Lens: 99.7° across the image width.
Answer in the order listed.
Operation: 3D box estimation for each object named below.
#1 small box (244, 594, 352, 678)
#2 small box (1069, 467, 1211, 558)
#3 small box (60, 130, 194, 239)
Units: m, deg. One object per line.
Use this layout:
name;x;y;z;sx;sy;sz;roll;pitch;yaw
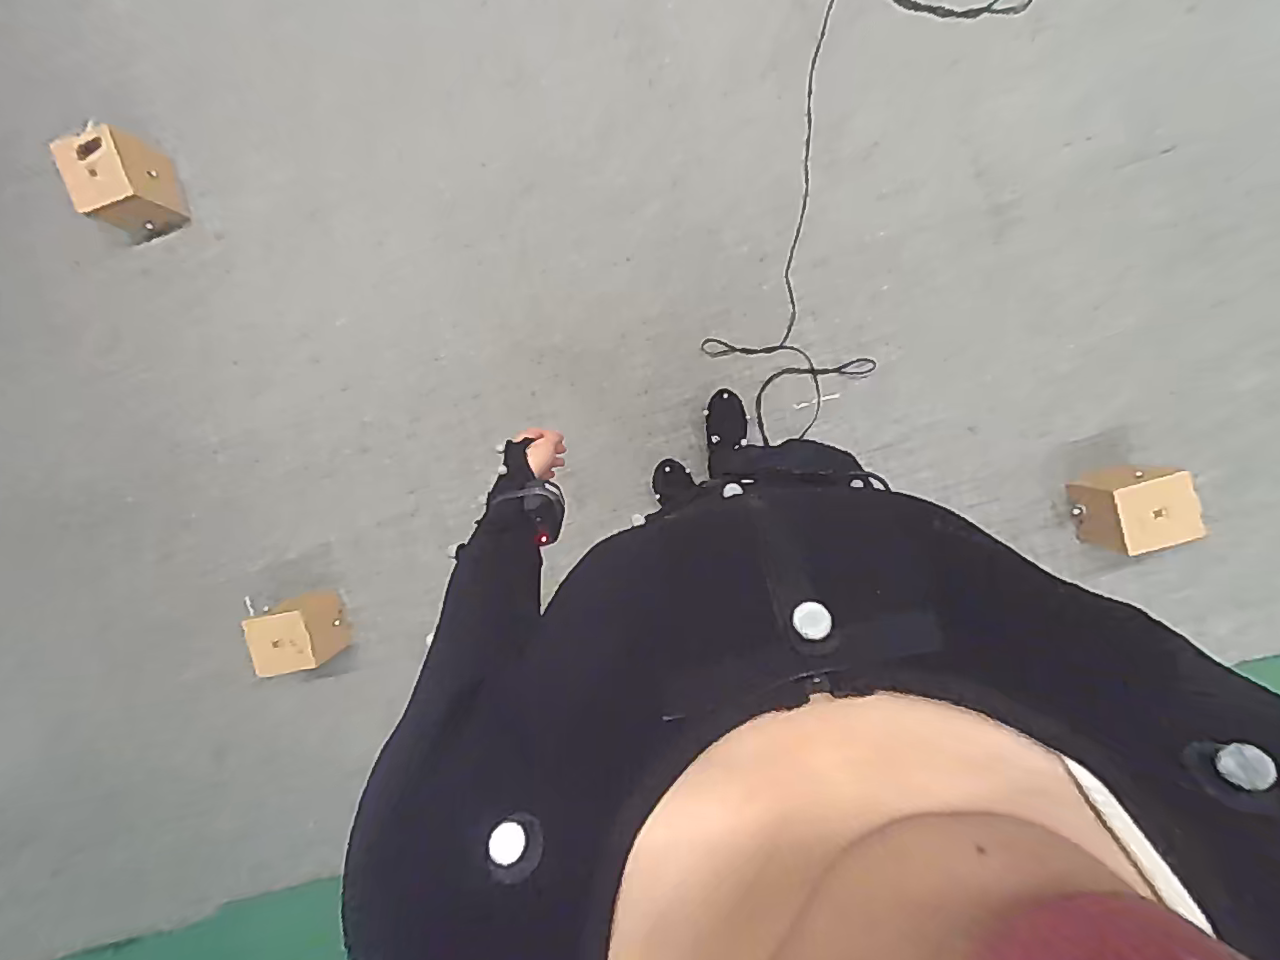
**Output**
small box;-0.956;0.434;1.524;0.179;0.176;0.168;-11;95;5
small box;1.214;0.072;1.326;0.179;0.176;0.168;-18;93;7
small box;-1.345;-0.772;1.431;0.168;0.176;0.179;-16;95;5
